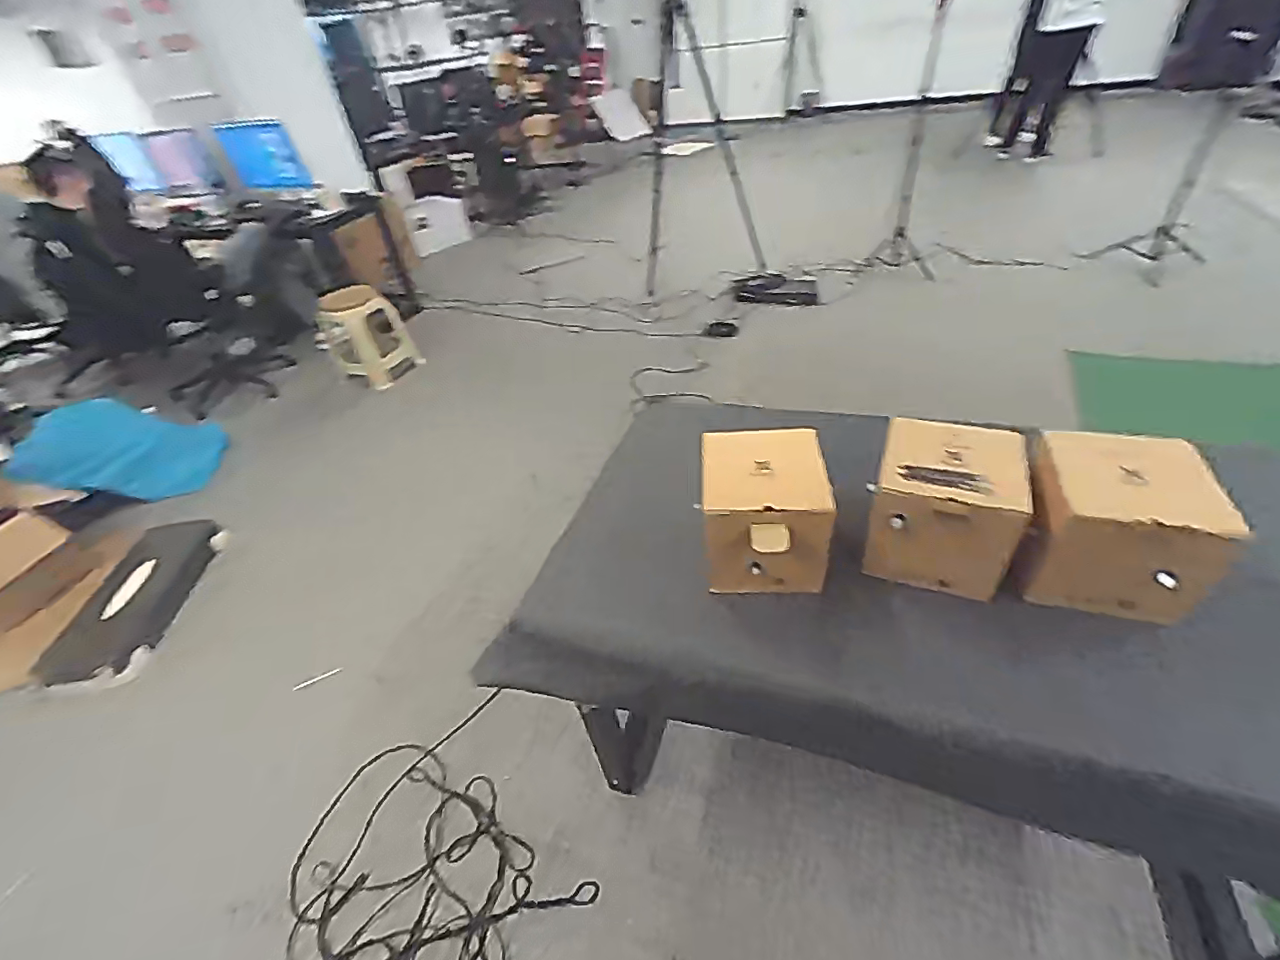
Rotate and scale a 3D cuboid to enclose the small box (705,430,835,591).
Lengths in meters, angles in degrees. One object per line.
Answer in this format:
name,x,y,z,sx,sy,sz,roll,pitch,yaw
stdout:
small box,0.180,0.043,0.804,0.168,0.176,0.179,-1,41,7
